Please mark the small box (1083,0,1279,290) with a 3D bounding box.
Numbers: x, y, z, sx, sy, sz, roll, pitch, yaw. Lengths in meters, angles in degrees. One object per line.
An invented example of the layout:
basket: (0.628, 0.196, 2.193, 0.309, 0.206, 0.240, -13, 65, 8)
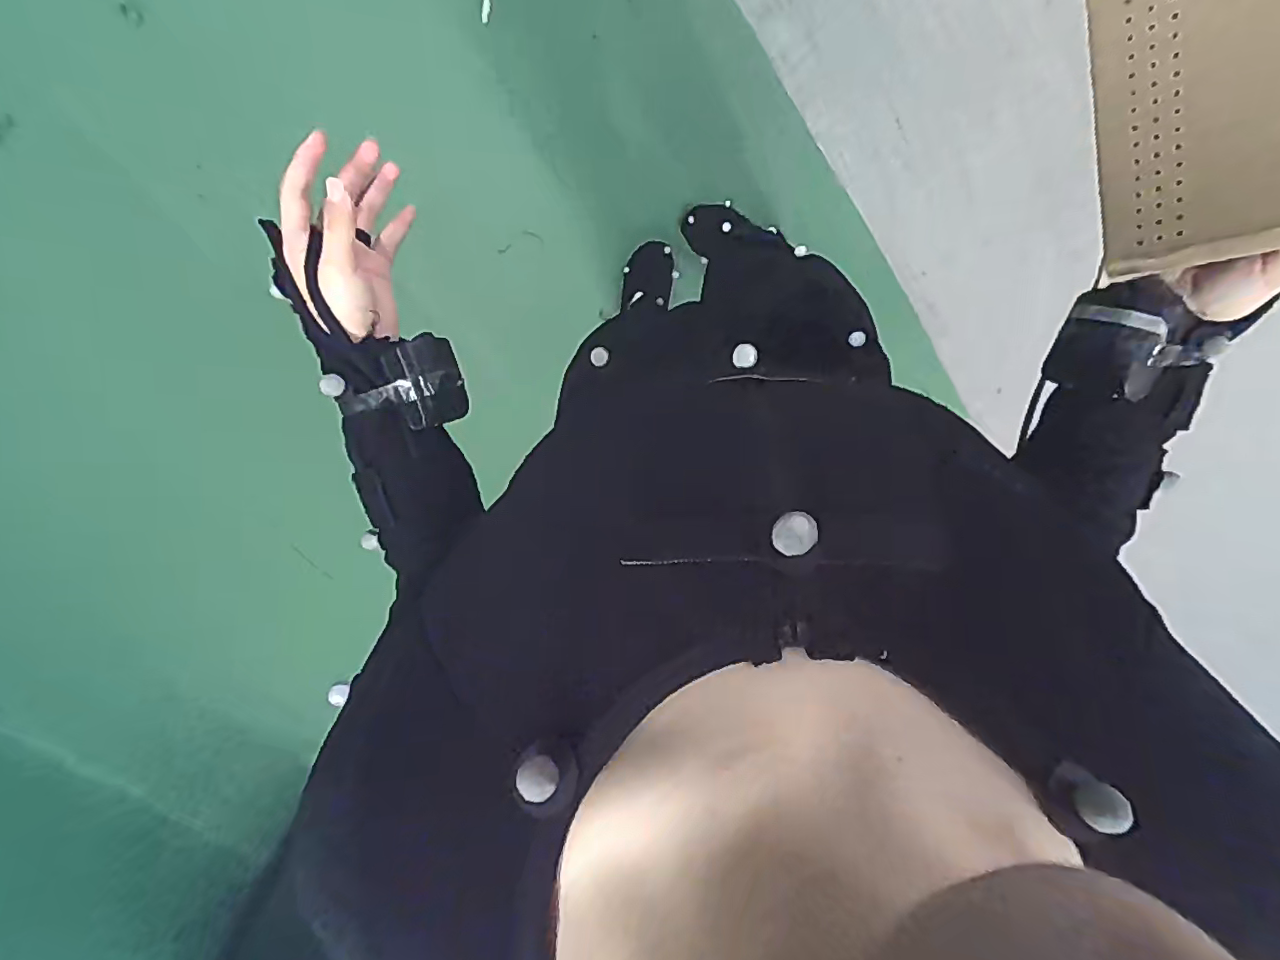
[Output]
small box: (0.292, -0.186, 0.186, 0.168, 0.176, 0.179, -22, 104, -19)
